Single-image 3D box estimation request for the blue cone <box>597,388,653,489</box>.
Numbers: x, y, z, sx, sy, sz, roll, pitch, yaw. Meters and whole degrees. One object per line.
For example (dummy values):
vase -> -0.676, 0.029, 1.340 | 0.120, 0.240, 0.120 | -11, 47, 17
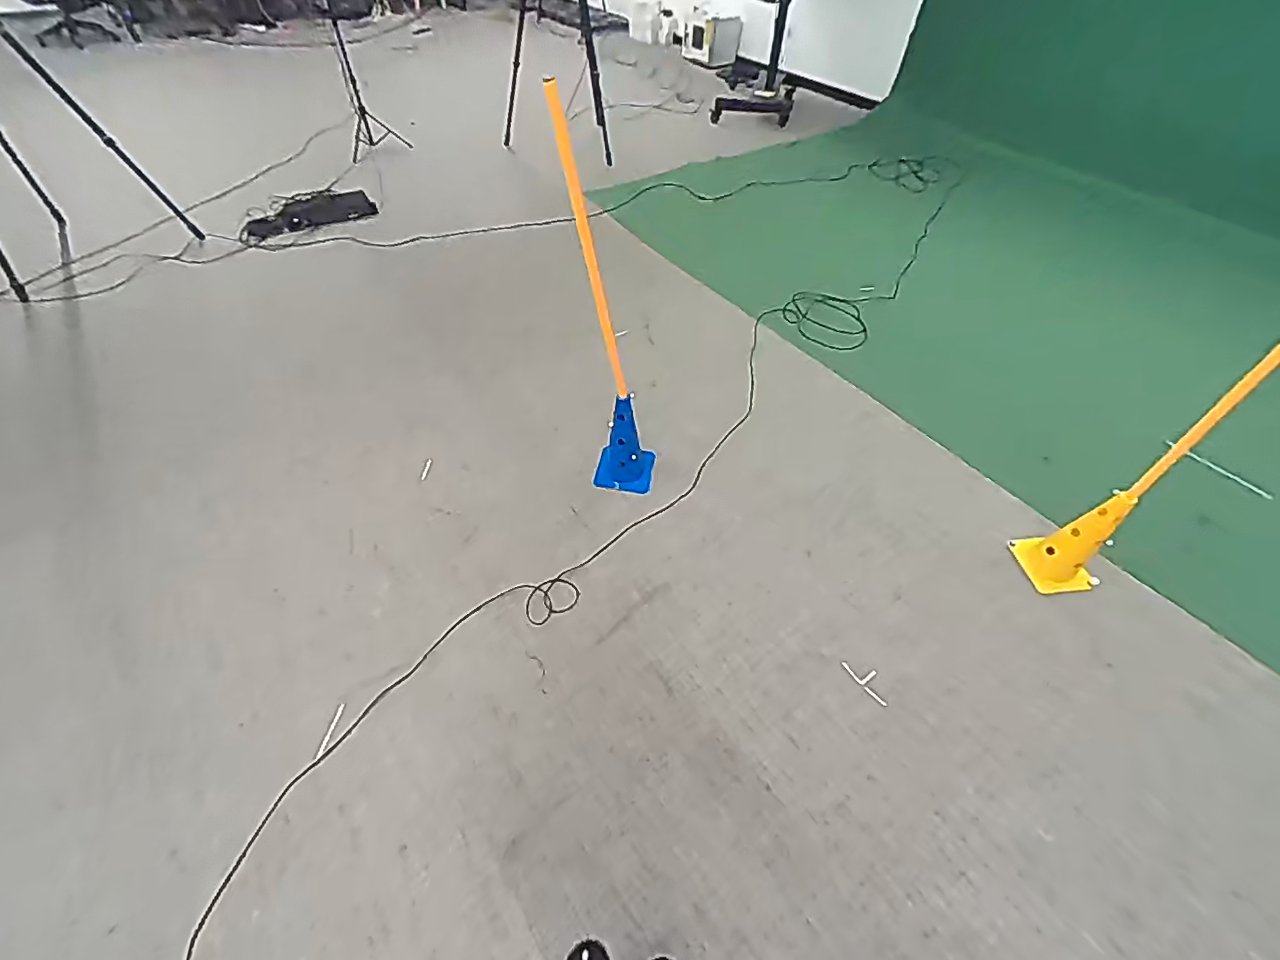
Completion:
blue cone -> -0.054, -0.149, 1.820 | 0.193, 0.380, 0.192 | 6, 51, 6
